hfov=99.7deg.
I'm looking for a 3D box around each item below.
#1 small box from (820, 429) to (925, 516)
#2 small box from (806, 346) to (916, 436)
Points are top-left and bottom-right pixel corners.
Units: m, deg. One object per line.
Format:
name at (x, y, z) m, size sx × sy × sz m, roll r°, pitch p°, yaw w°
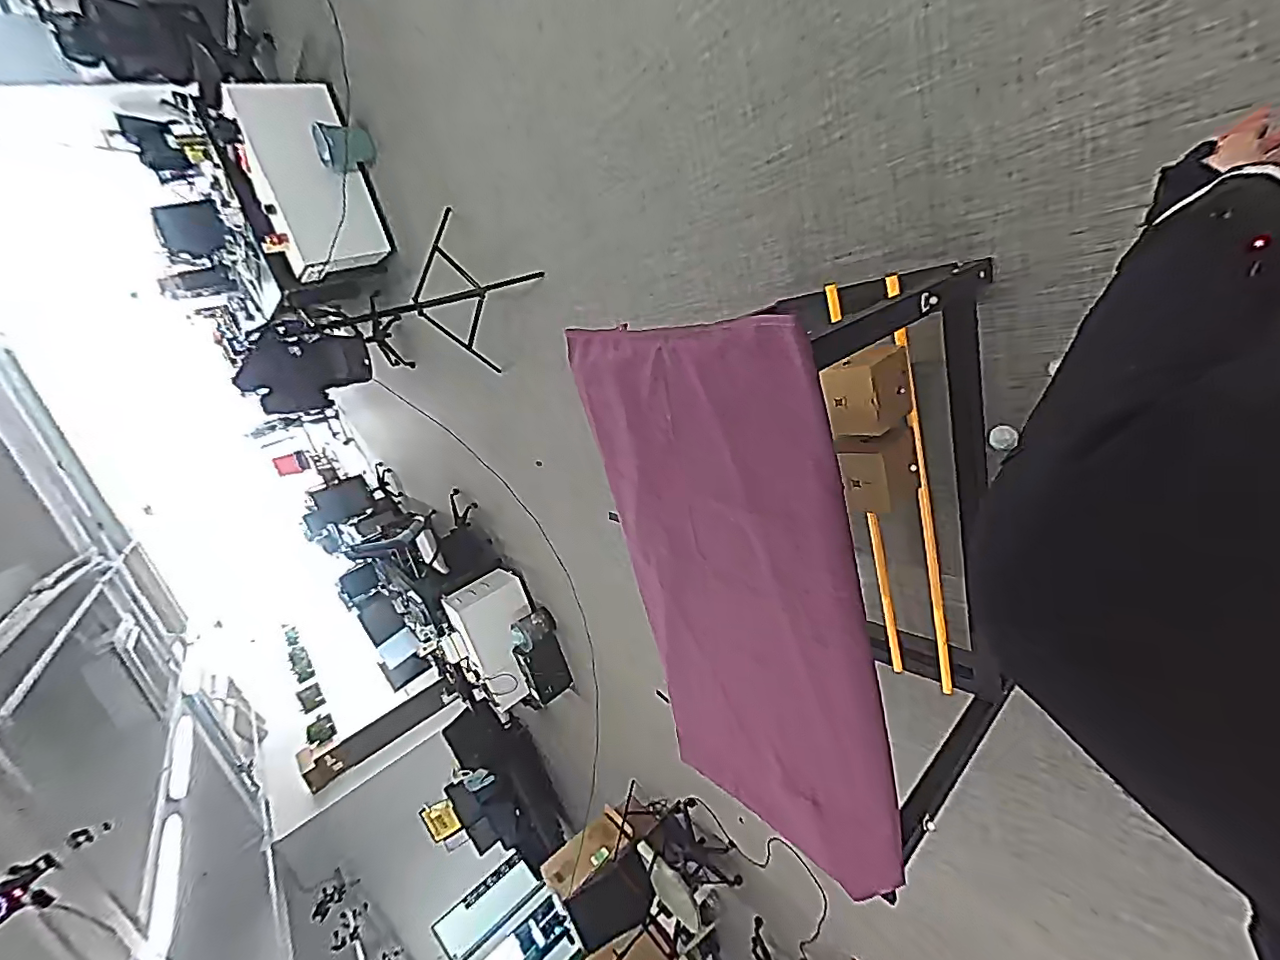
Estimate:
small box at (0.590, -0.026, 1.370) m, size 0.179 × 0.176 × 0.168 m, roll 5°, pitch 119°, yaw 50°
small box at (0.533, -0.213, 1.303) m, size 0.179 × 0.176 × 0.168 m, roll 6°, pitch 119°, yaw 51°
